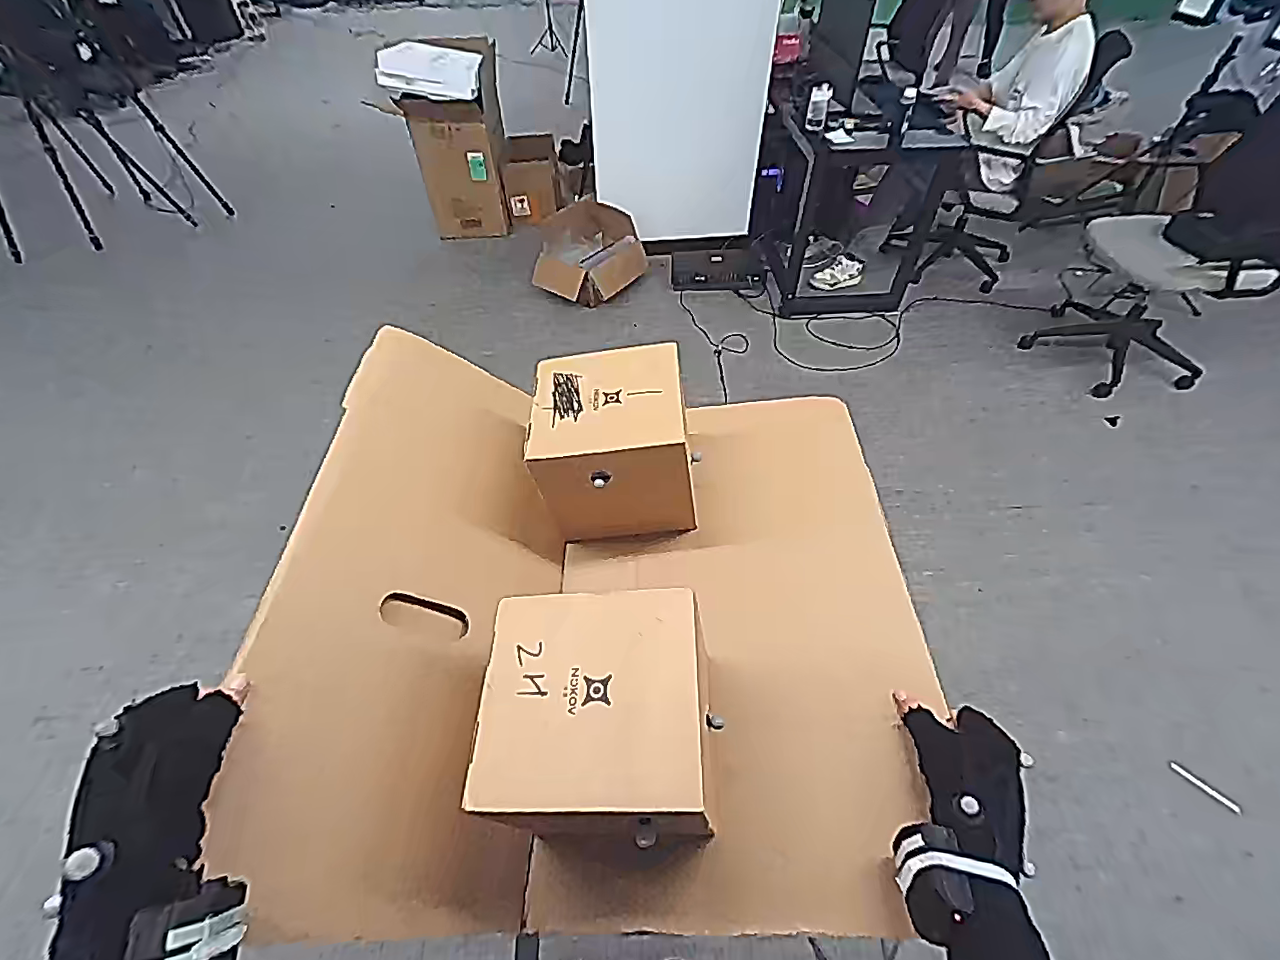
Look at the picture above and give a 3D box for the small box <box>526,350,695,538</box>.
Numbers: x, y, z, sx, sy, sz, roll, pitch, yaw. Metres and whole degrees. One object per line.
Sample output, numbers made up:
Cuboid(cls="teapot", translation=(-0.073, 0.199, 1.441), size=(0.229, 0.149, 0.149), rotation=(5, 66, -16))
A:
Cuboid(cls="small box", translation=(-0.028, -0.039, 0.690), size=(0.179, 0.176, 0.168), rotation=(-6, 52, 6))
